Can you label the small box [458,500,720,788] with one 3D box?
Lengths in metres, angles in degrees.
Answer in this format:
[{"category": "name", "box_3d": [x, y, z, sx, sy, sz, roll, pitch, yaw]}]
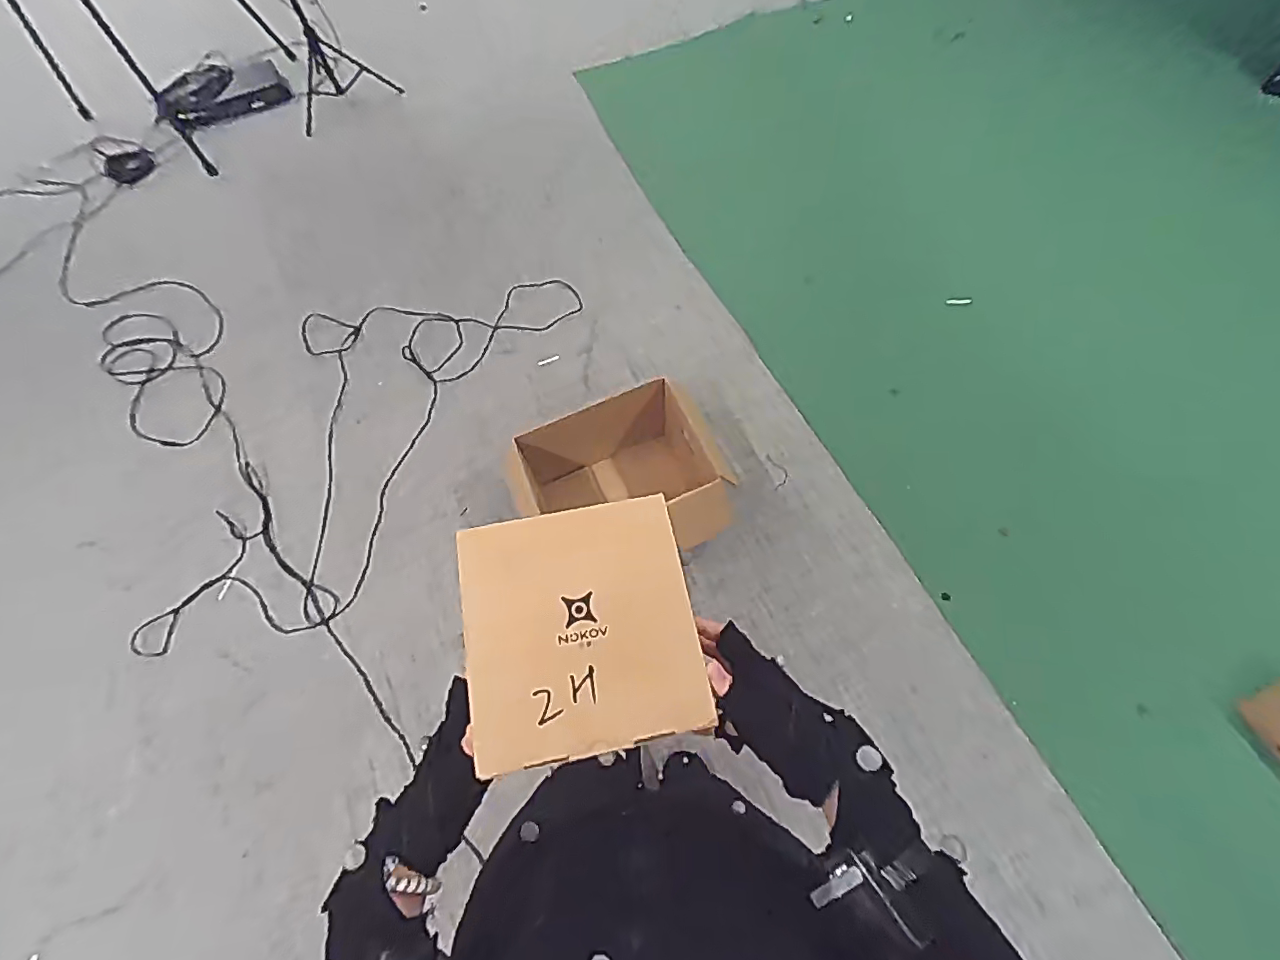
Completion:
[{"category": "small box", "box_3d": [-0.045, 0.136, 0.454, 0.168, 0.176, 0.179, -10, 68, -6]}]
